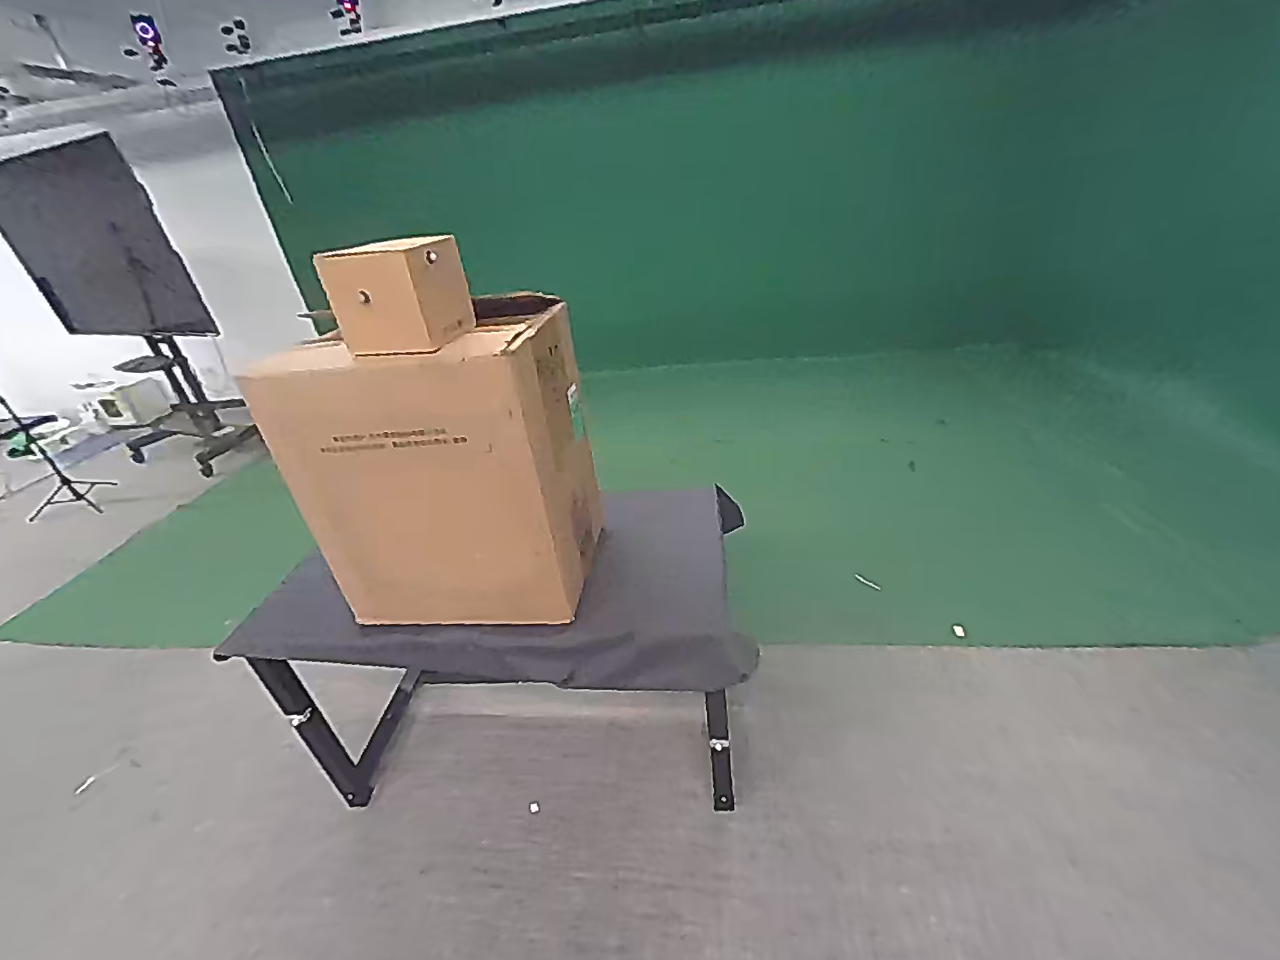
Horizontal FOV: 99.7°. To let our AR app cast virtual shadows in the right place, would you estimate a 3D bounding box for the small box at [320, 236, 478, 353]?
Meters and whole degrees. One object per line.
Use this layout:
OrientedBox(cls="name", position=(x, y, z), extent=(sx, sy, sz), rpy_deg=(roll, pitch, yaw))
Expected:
OrientedBox(cls="small box", position=(-0.425, -0.336, 0.985), extent=(0.179, 0.176, 0.168), rpy_deg=(1, 32, 14))
